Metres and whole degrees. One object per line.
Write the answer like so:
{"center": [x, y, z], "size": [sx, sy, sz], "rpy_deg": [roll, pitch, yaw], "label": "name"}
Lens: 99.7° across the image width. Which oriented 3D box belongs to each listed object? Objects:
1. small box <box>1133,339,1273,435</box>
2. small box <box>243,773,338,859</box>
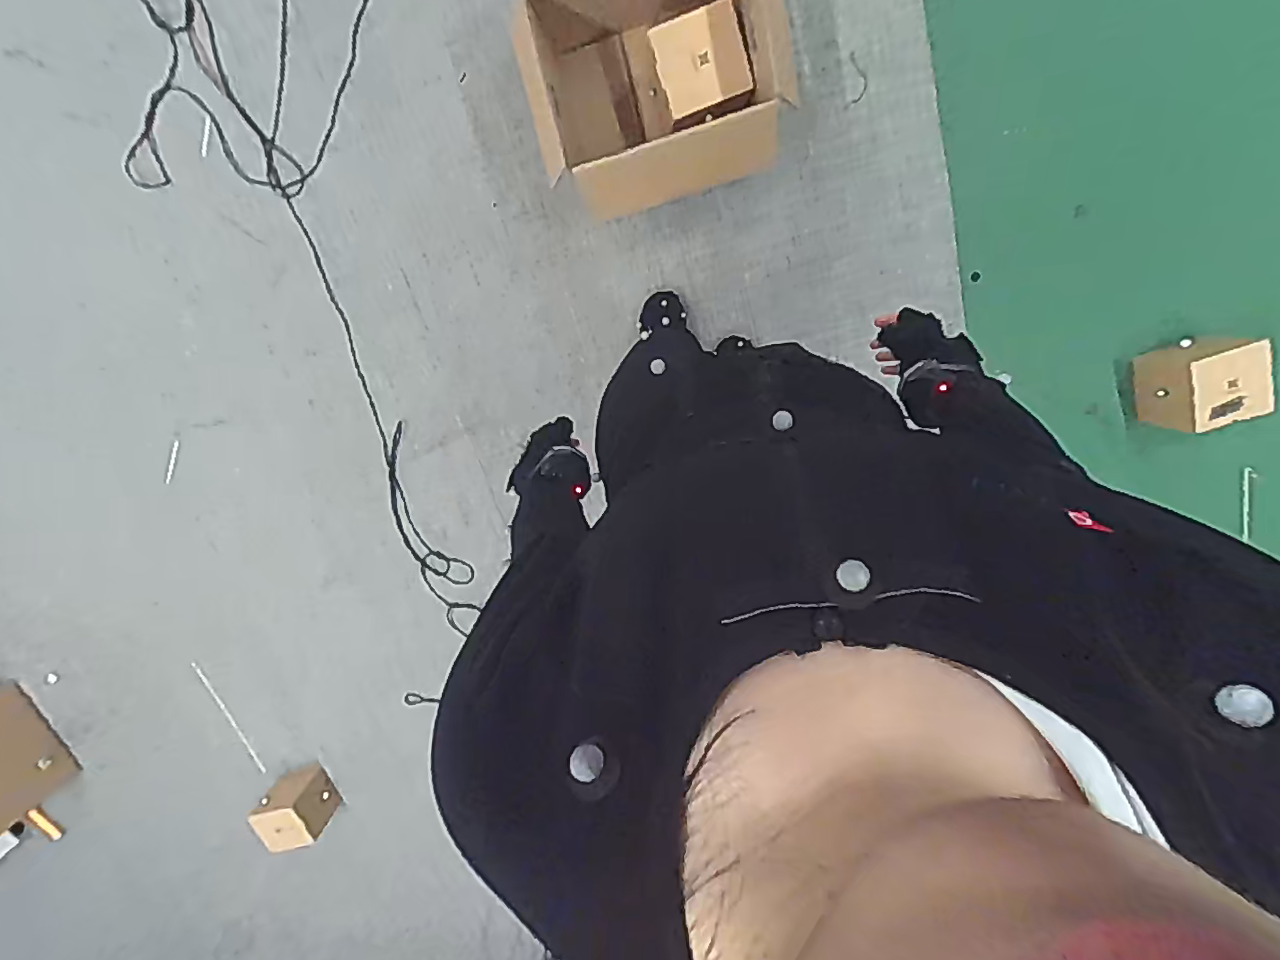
{"center": [1.339, -0.228, 1.296], "size": [0.168, 0.176, 0.179], "rpy_deg": [-18, 104, 8], "label": "small box"}
{"center": [-1.179, 1.135, 1.835], "size": [0.179, 0.176, 0.168], "rpy_deg": [-17, 106, 8], "label": "small box"}
